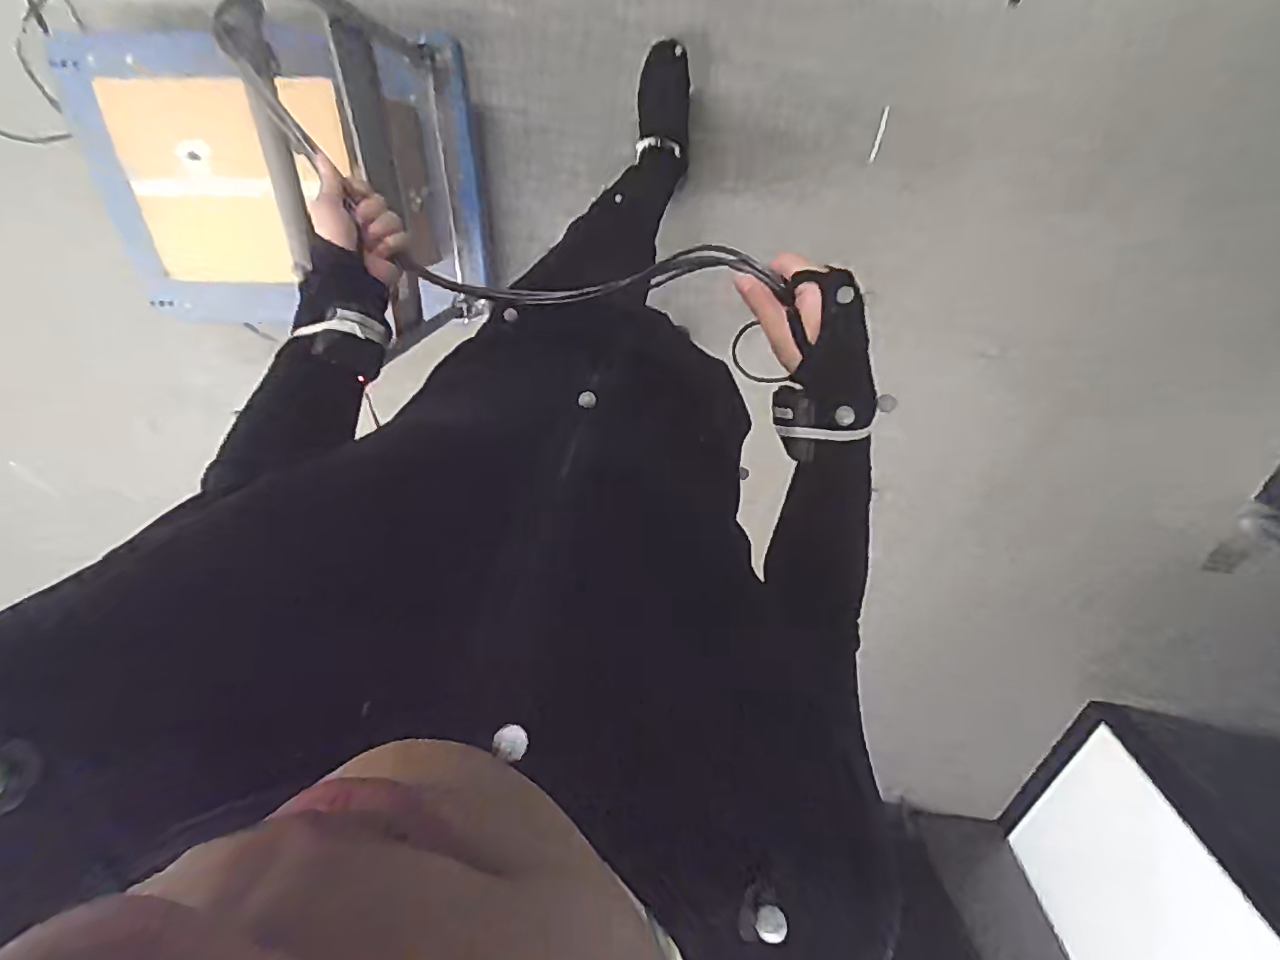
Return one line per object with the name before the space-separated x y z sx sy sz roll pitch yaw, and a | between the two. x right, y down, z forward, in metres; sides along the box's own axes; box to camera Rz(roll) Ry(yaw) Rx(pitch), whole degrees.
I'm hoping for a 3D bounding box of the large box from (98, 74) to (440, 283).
large box | -0.668 -0.577 1.061 0.408 0.320 0.320 2 118 3
